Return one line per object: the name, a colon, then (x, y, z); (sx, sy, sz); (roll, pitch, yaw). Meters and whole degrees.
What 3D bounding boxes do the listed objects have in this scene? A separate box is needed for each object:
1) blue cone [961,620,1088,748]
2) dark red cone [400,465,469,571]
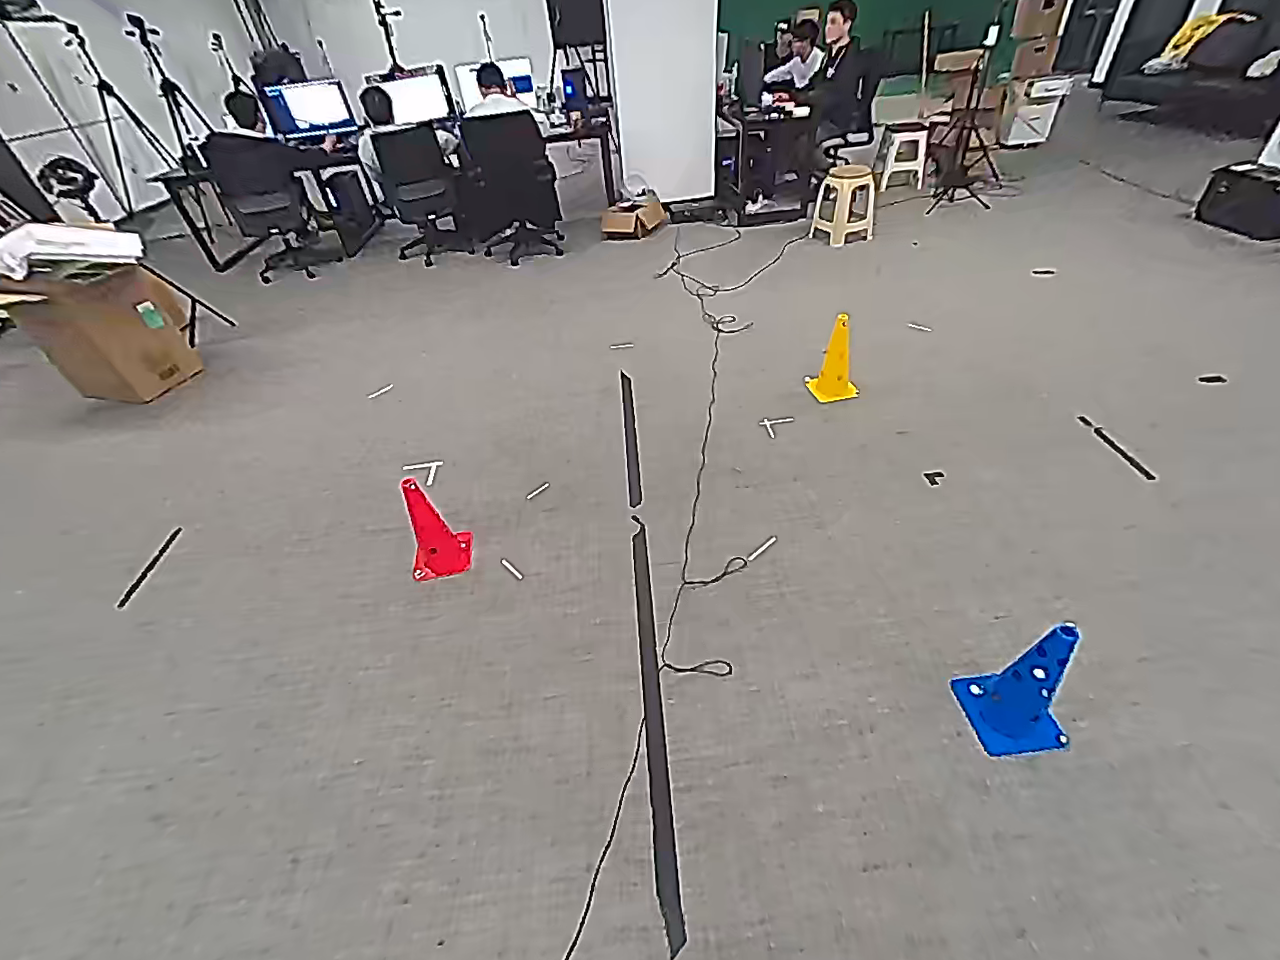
blue cone: (0.915, 0.447, 1.244); (0.192, 0.380, 0.193); (-5, 40, 0)
dark red cone: (-0.720, 0.114, 1.806); (0.201, 0.394, 0.202); (-11, 41, -6)
